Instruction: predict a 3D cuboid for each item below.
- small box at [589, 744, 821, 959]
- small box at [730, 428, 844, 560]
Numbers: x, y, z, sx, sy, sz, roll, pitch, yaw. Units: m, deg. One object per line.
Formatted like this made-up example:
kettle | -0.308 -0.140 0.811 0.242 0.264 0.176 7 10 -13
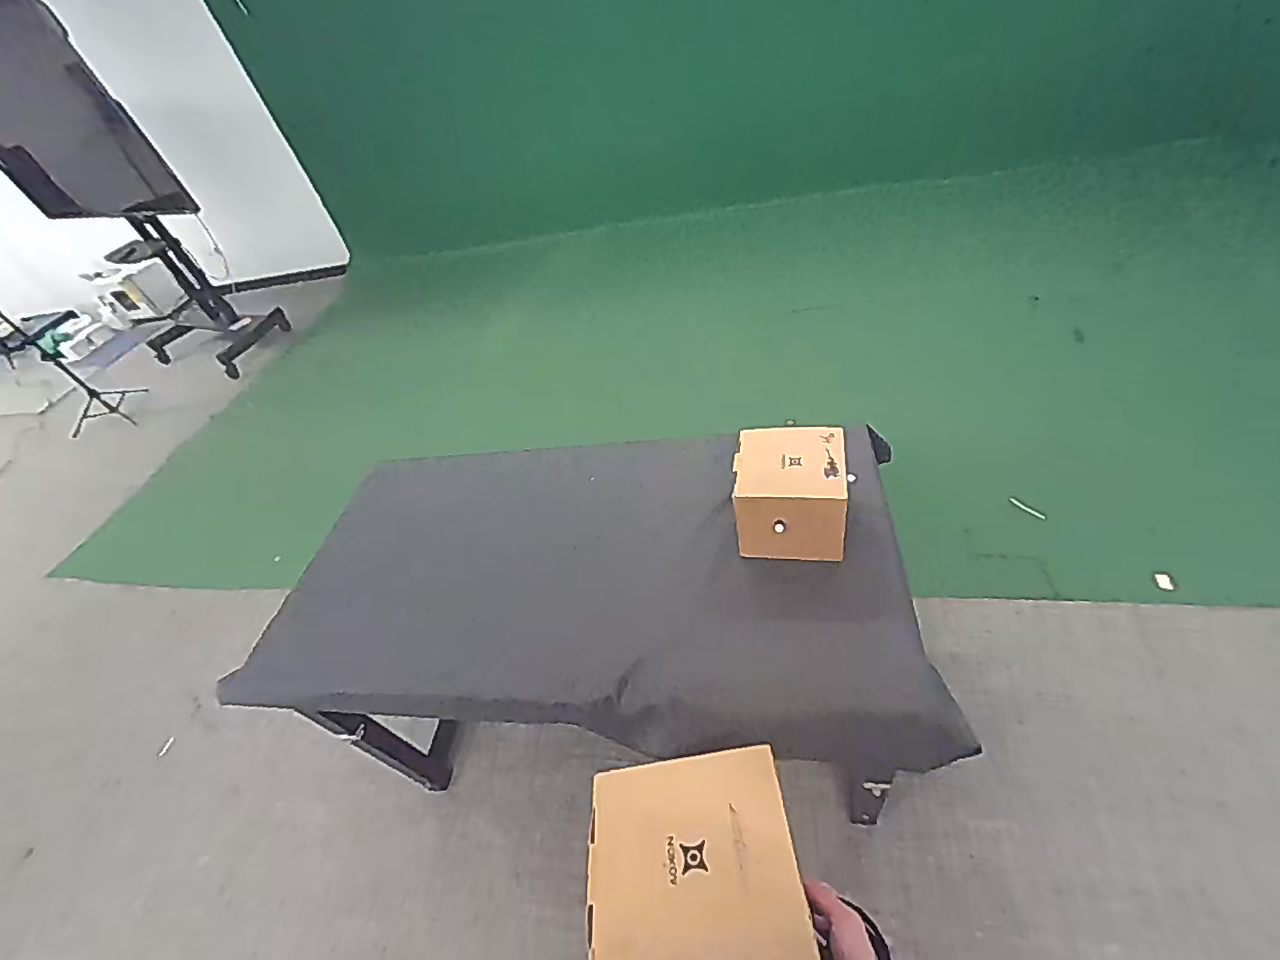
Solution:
small box | 0.062 0.377 0.502 0.179 0.176 0.168 -12 38 6
small box | 0.262 0.027 0.952 0.179 0.176 0.168 0 48 17
